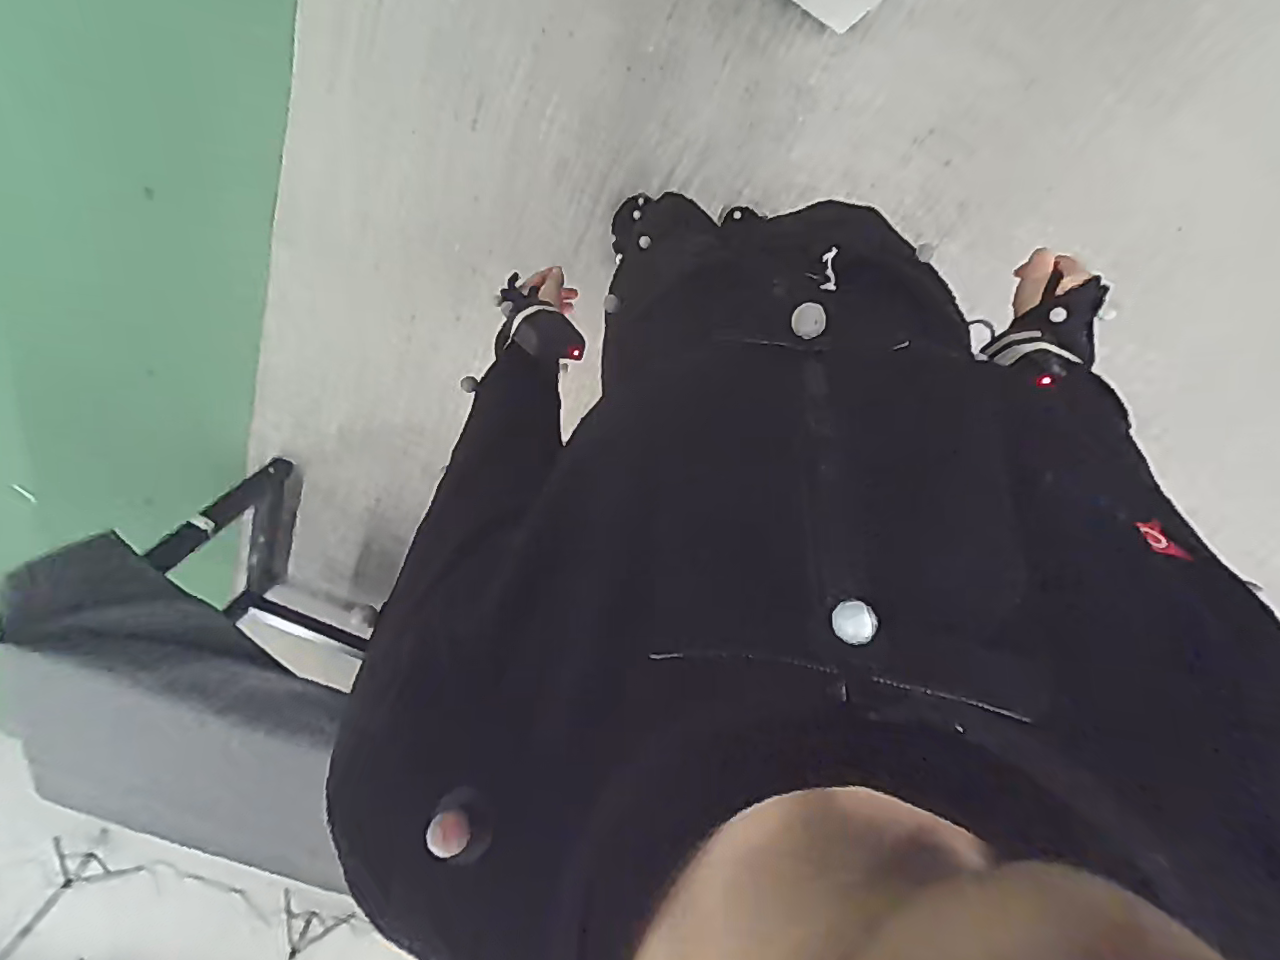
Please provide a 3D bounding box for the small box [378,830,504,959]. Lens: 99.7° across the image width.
[{"bbox_3d":[-0.402,0.852,1.106,0.179,0.176,0.168,21,122,-7],"label":"small box"}]
